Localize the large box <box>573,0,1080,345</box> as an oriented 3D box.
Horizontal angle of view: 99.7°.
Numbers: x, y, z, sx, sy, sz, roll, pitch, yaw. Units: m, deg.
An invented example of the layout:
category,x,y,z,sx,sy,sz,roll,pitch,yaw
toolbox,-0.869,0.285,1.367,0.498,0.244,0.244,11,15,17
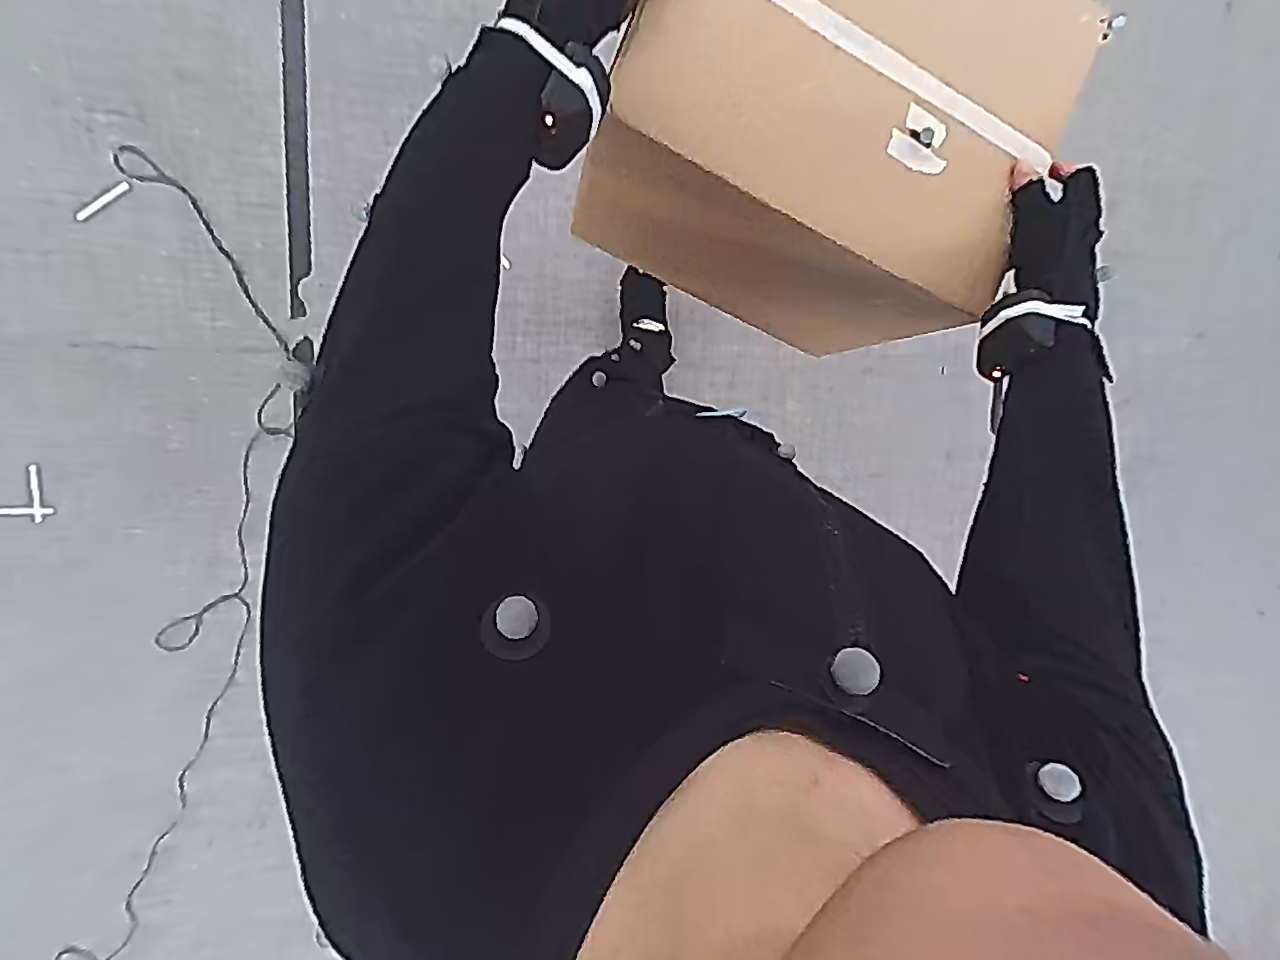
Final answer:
category,x,y,z,sx,sy,sz,roll,pitch,yaw
large box,0.169,-0.395,0.636,0.408,0.320,0.320,21,93,-14
